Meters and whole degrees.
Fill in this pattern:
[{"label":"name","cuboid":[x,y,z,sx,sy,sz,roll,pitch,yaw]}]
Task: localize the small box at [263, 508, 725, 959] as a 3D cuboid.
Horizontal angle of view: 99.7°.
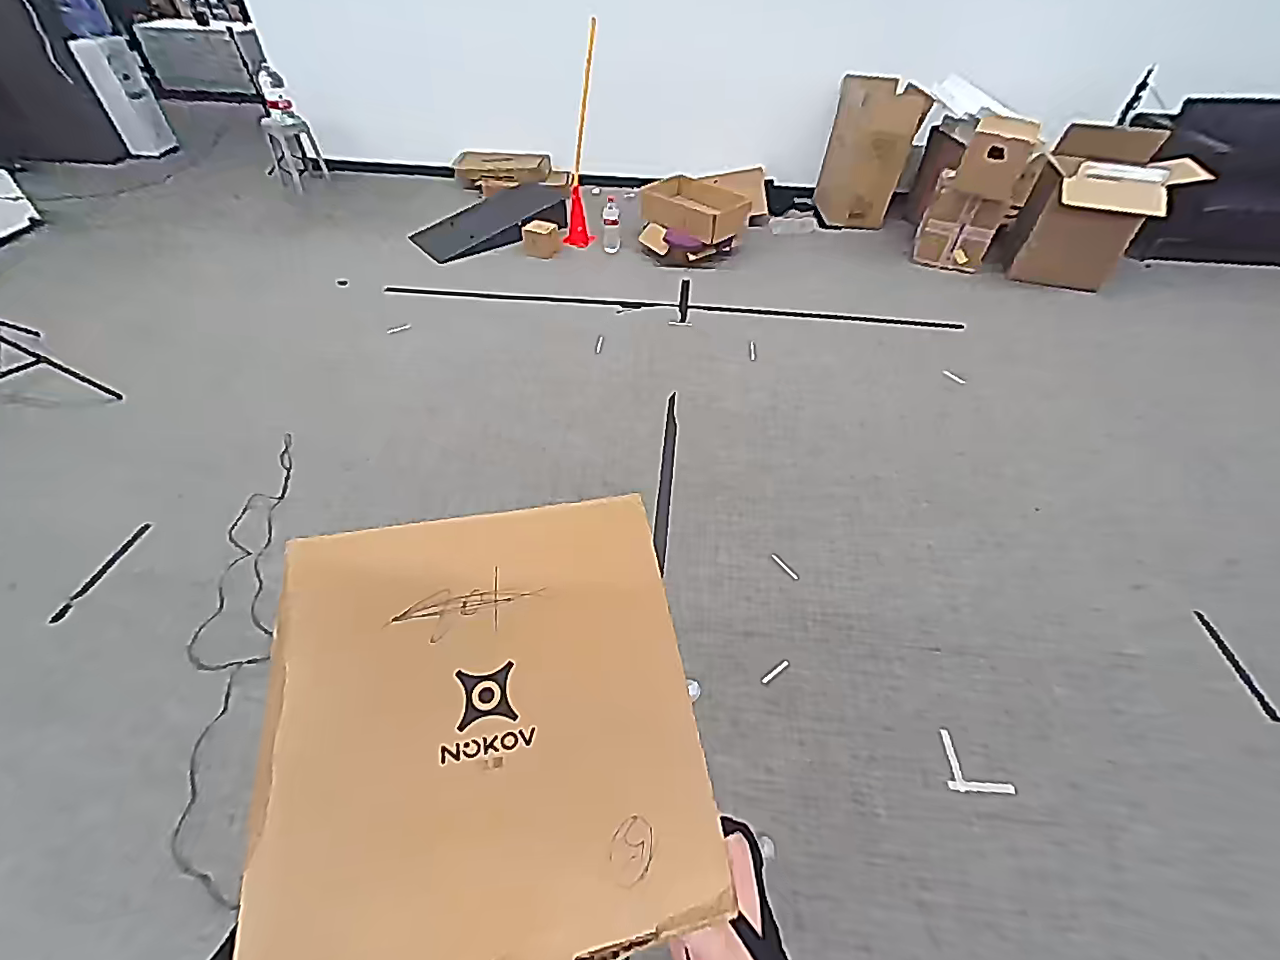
[{"label":"small box","cuboid":[-0.071,0.139,0.298,0.168,0.176,0.179,-8,59,-13]}]
